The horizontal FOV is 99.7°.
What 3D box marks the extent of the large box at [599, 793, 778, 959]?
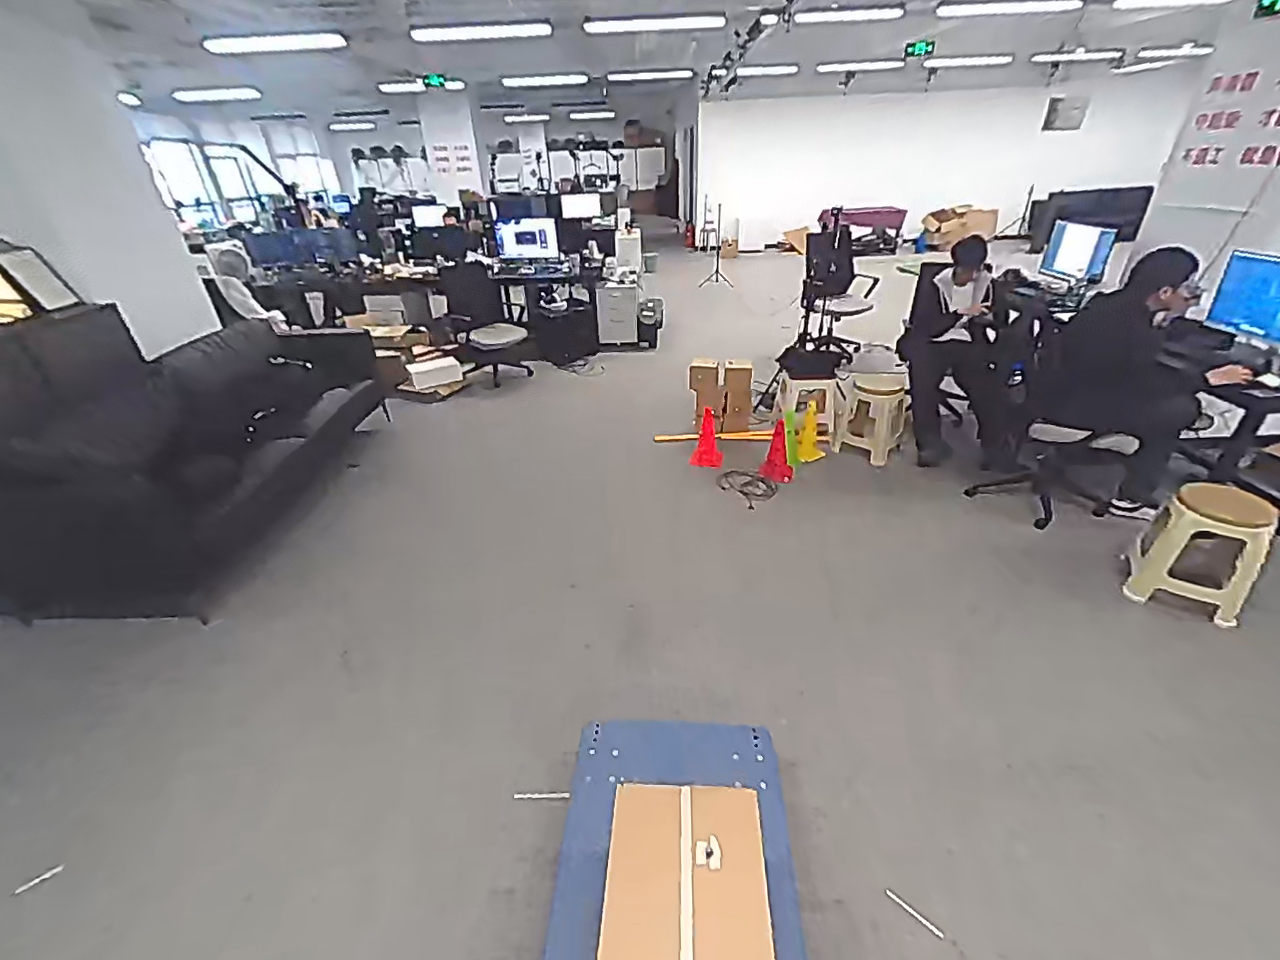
[{"bbox_3d":[0.096,0.922,1.089,0.320,0.320,0.408,1,30,4],"label":"large box"}]
